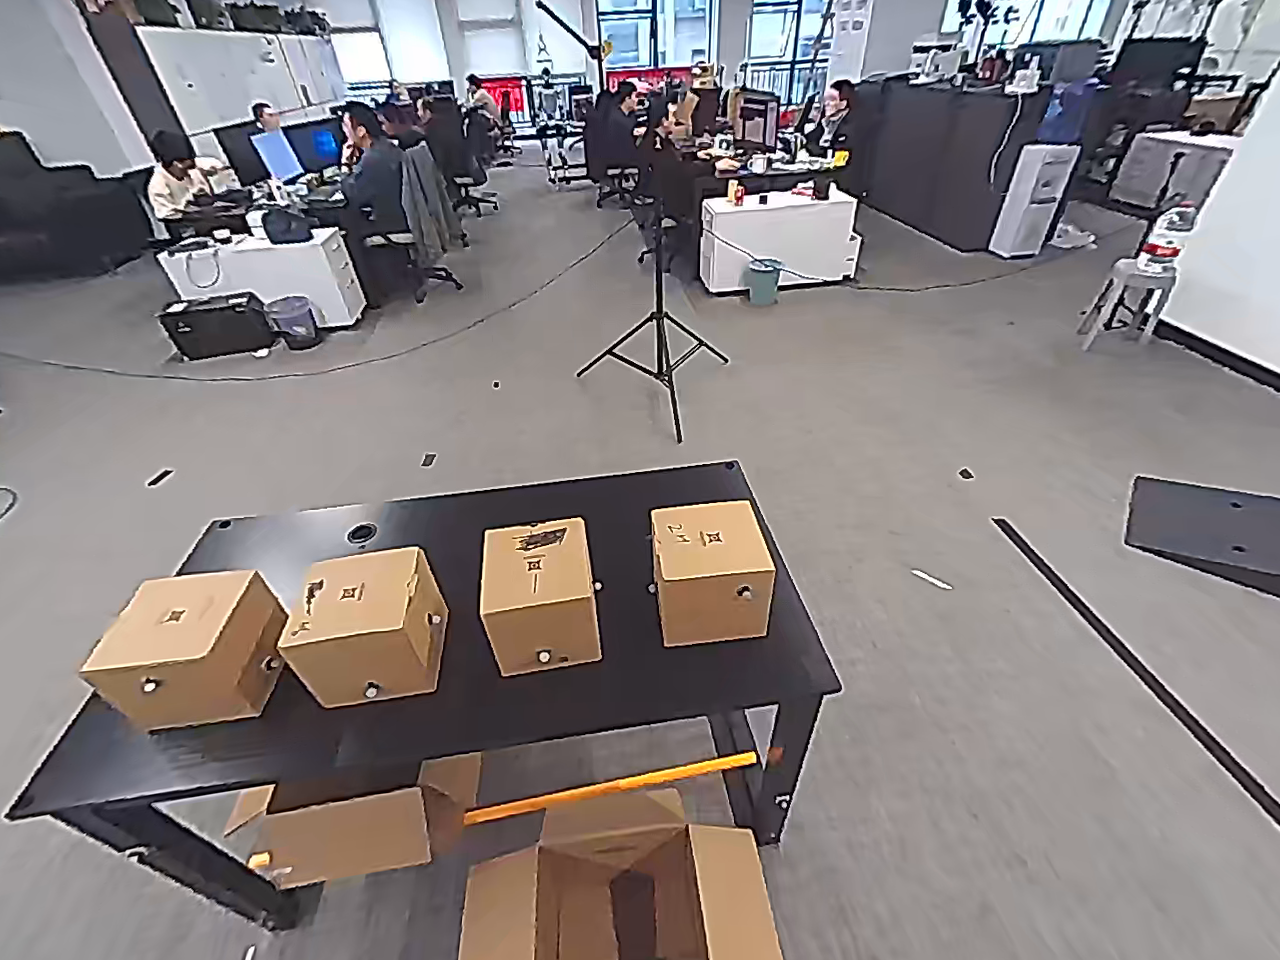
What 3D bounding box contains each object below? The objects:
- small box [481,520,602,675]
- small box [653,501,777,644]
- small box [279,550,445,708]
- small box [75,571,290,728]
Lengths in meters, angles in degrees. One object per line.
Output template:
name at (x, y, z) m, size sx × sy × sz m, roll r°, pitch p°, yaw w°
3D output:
small box at (-0.158, 0.193, 0.899) m, size 0.168 × 0.176 × 0.179 m, roll -8°, pitch 39°, yaw -6°
small box at (0.118, 0.157, 0.921) m, size 0.179 × 0.176 × 0.168 m, roll -6°, pitch 38°, yaw -2°
small box at (-0.425, 0.238, 0.865) m, size 0.179 × 0.176 × 0.168 m, roll -7°, pitch 38°, yaw -7°
small box at (-0.686, 0.267, 0.846) m, size 0.179 × 0.176 × 0.168 m, roll -6°, pitch 40°, yaw -5°
